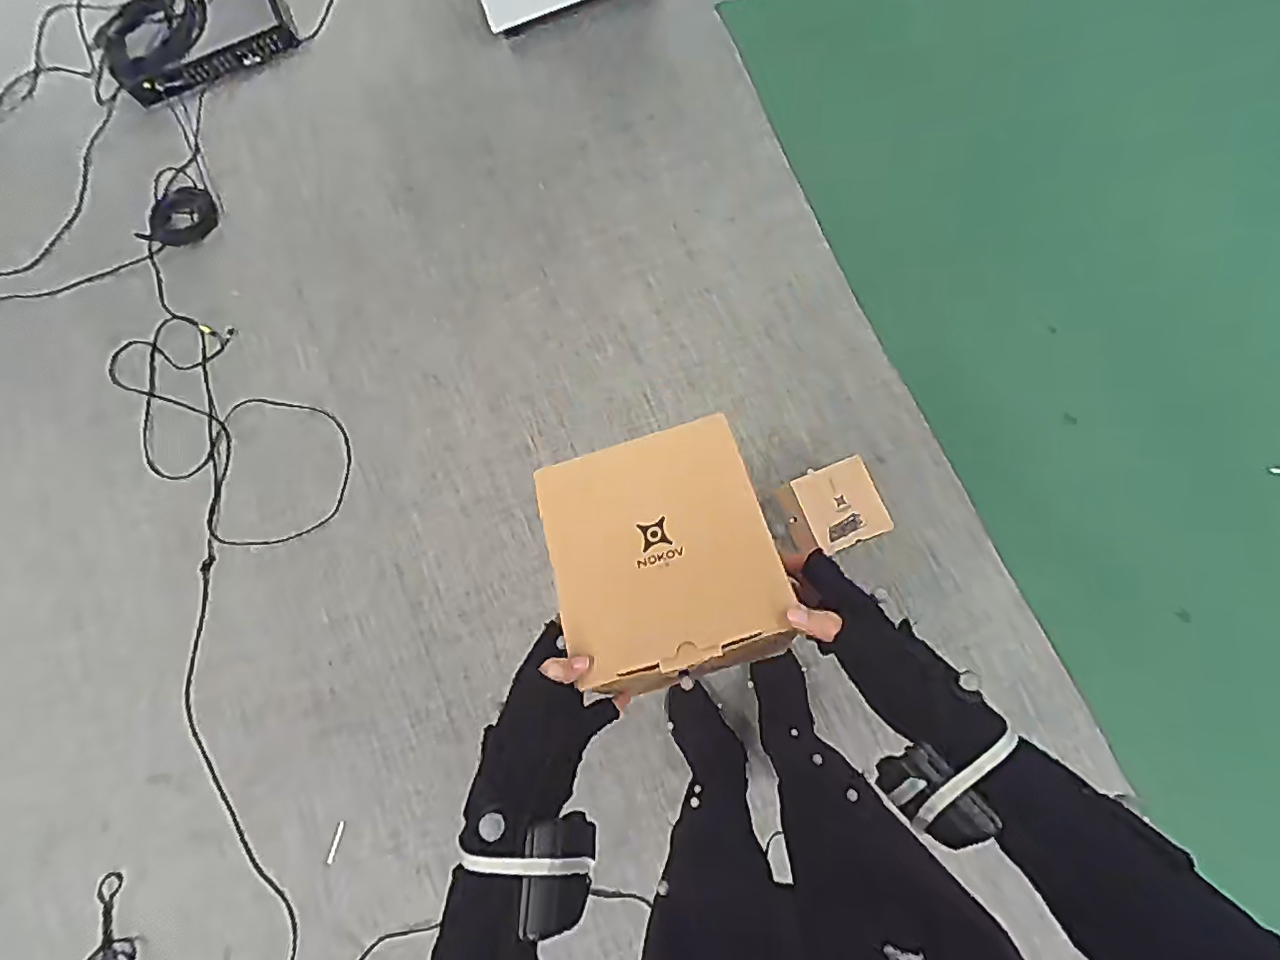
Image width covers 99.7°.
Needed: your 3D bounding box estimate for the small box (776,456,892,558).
[{"bbox_3d":[0.427,0.068,1.219,0.168,0.176,0.179,-21,80,-1],"label":"small box"}]
